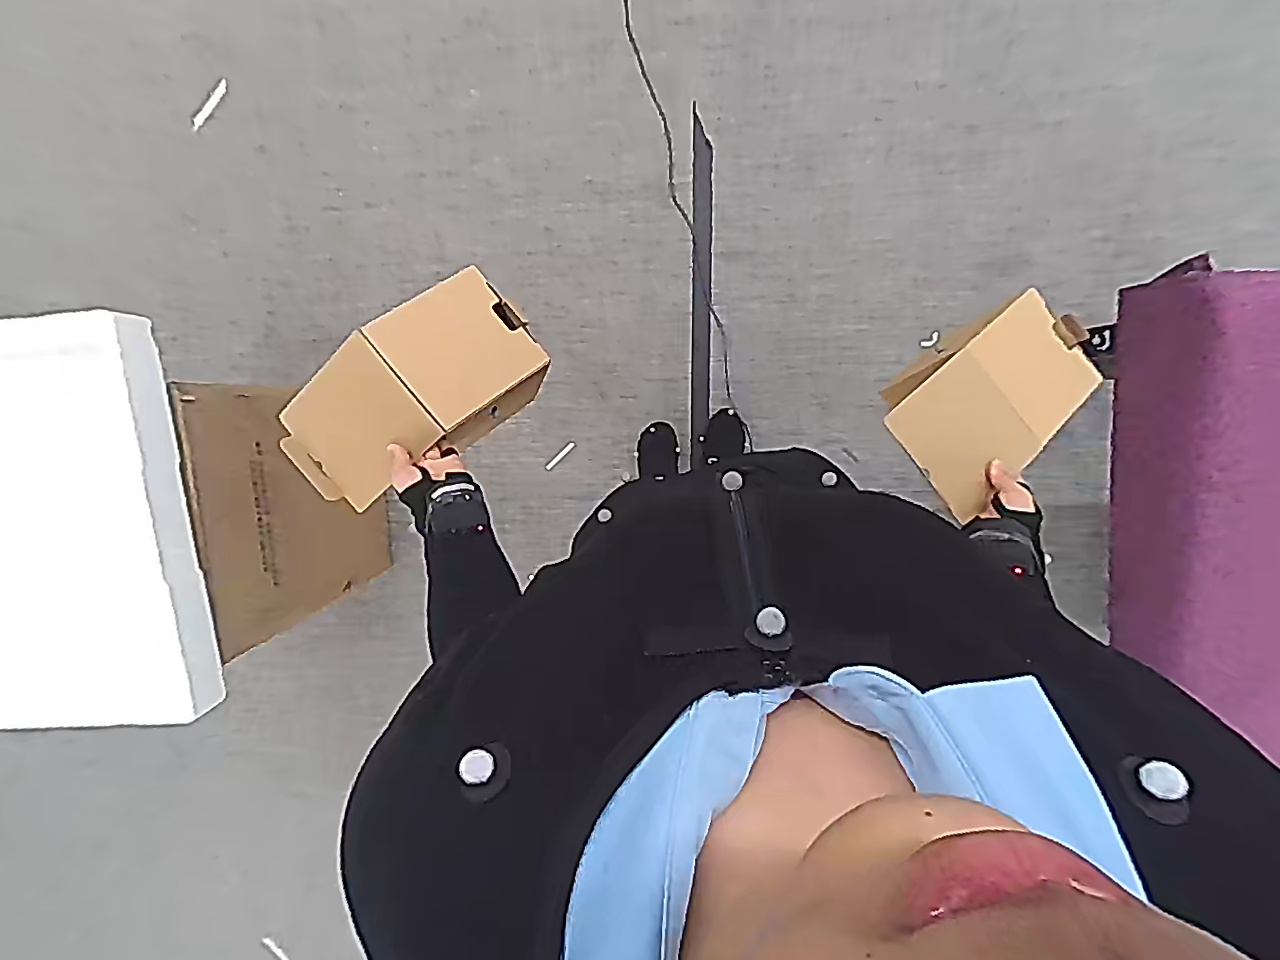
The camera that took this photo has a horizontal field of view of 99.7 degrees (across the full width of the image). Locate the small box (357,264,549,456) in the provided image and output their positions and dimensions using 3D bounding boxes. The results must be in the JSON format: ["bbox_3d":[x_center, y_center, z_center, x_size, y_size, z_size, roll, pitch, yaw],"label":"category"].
[{"bbox_3d":[-0.255,-0.156,0.757,0.179,0.176,0.168,-41,94,-22],"label":"small box"}]
